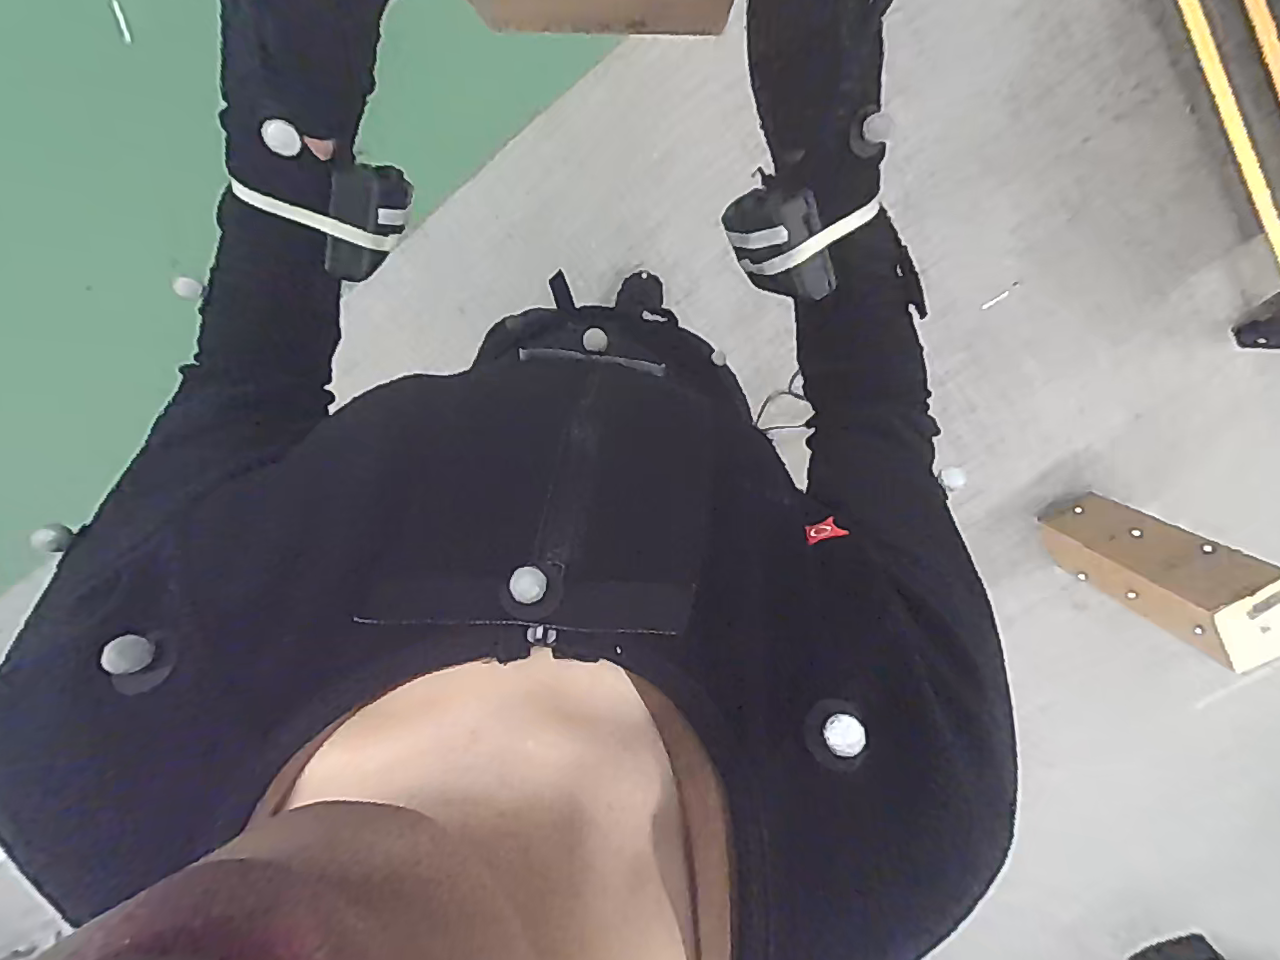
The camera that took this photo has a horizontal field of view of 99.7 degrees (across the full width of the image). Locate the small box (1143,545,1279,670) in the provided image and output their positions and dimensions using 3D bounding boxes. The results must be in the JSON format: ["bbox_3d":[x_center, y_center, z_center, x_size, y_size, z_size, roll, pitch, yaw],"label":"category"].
[{"bbox_3d":[1.249,0.261,1.163,0.168,0.176,0.179,-33,105,10],"label":"small box"}]

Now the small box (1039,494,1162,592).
[{"bbox_3d":[1.246,0.165,1.475,0.168,0.176,0.179,-31,104,8],"label":"small box"}]
